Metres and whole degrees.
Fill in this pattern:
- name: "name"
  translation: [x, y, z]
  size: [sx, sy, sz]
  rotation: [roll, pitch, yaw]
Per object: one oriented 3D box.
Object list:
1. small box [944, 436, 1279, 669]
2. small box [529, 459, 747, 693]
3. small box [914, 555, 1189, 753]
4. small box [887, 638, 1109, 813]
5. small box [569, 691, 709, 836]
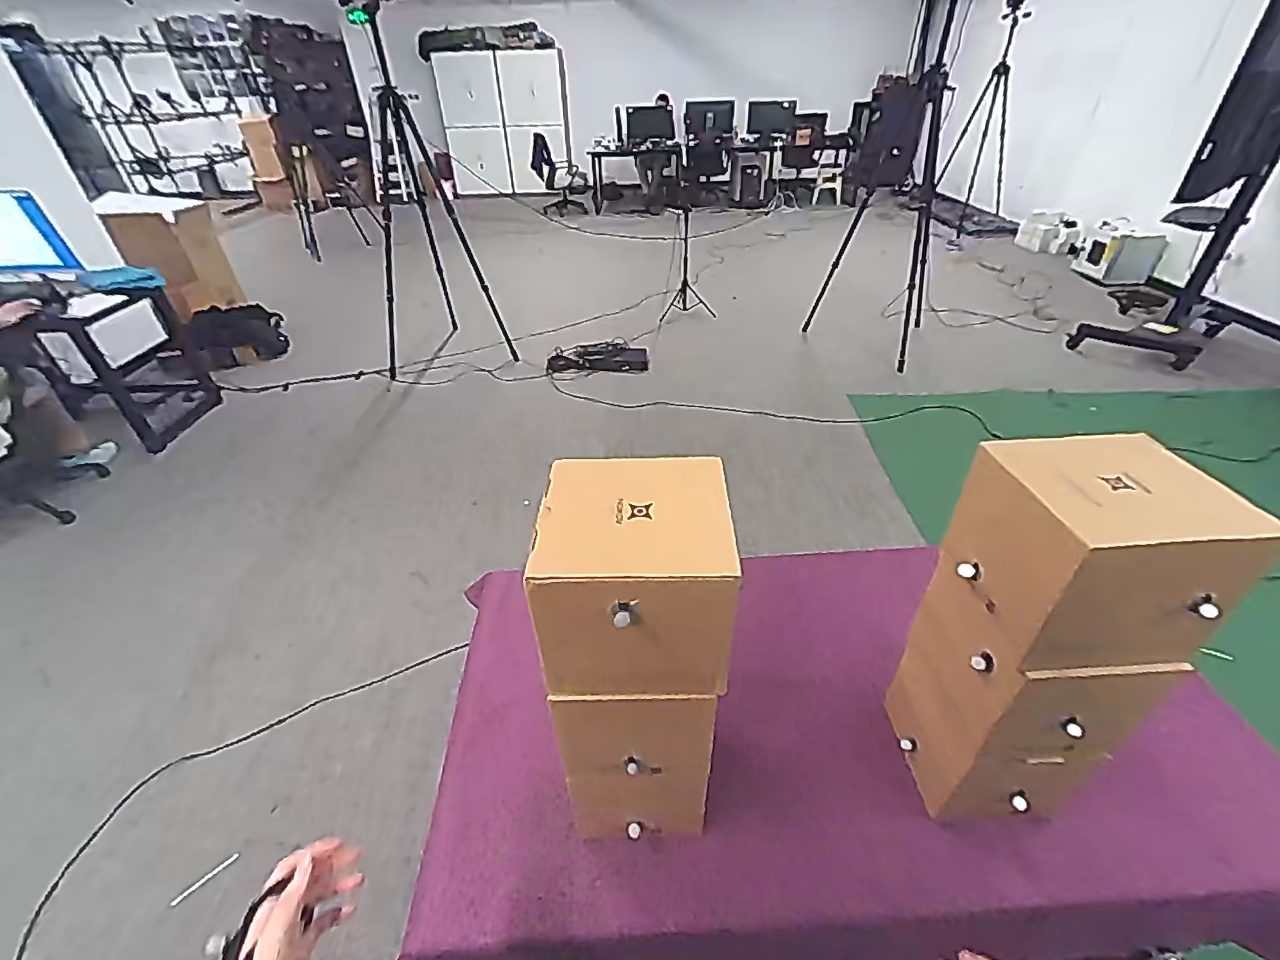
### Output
- name: "small box"
  translation: [0.450, 0.072, 0.548]
  size: [0.179, 0.176, 0.168]
  rotation: [-3, 36, 0]
- name: "small box"
  translation: [0.002, 0.095, 0.539]
  size: [0.179, 0.176, 0.168]
  rotation: [-1, 38, 2]
- name: "small box"
  translation: [0.458, 0.205, 0.642]
  size: [0.168, 0.176, 0.179]
  rotation: [-2, 37, -1]
- name: "small box"
  translation: [0.467, 0.336, 0.742]
  size: [0.168, 0.176, 0.179]
  rotation: [-2, 38, 0]
- name: "small box"
  translation: [0.000, 0.355, 0.738]
  size: [0.168, 0.176, 0.179]
  rotation: [-1, 38, 1]
